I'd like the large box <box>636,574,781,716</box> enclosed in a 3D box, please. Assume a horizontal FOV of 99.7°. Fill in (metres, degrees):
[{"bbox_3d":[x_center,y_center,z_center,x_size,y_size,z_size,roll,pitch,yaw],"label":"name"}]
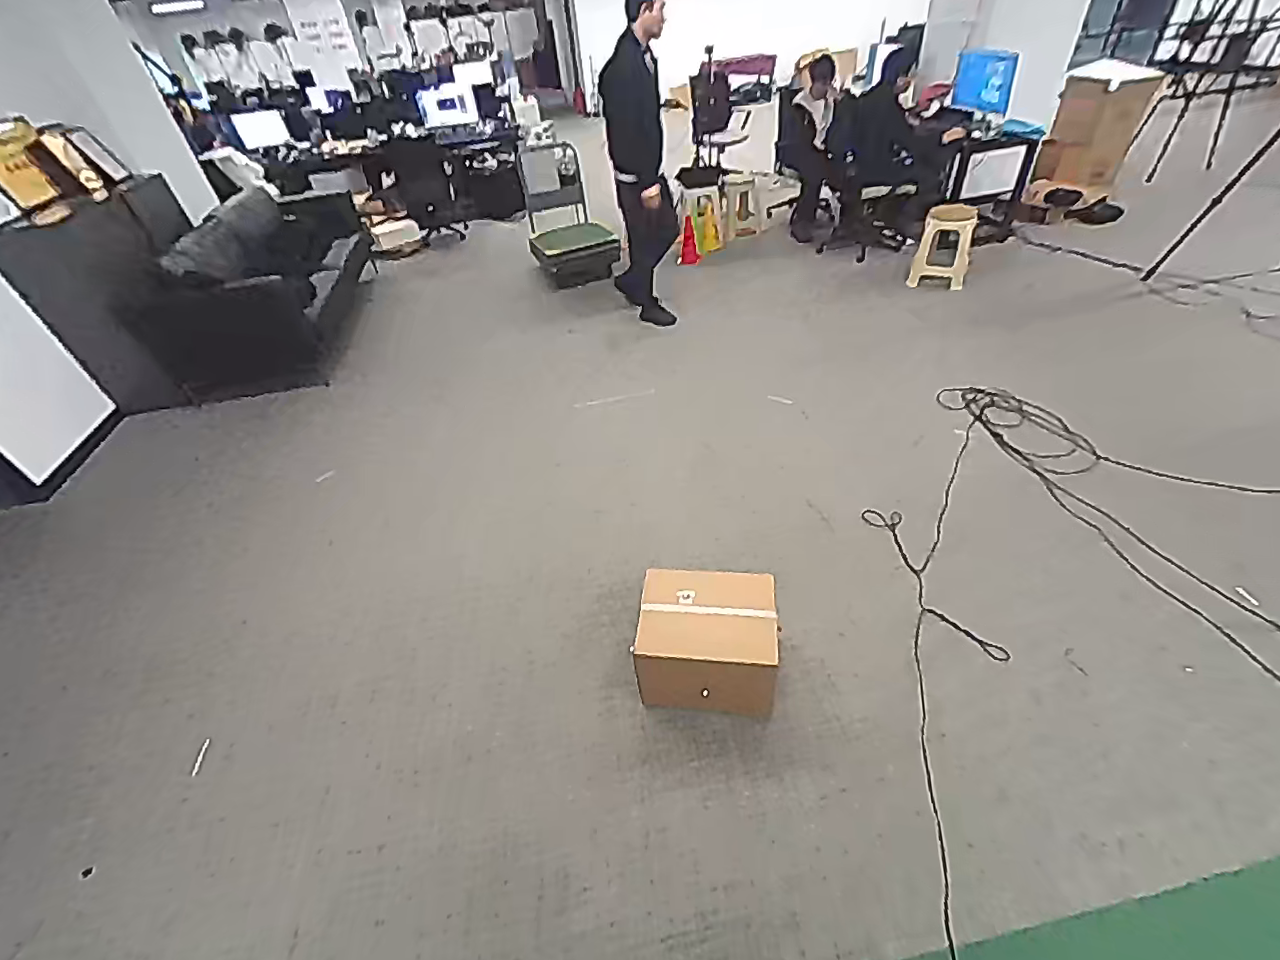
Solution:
[{"bbox_3d":[0.222,0.515,1.700,0.408,0.320,0.320,0,41,11],"label":"large box"}]
